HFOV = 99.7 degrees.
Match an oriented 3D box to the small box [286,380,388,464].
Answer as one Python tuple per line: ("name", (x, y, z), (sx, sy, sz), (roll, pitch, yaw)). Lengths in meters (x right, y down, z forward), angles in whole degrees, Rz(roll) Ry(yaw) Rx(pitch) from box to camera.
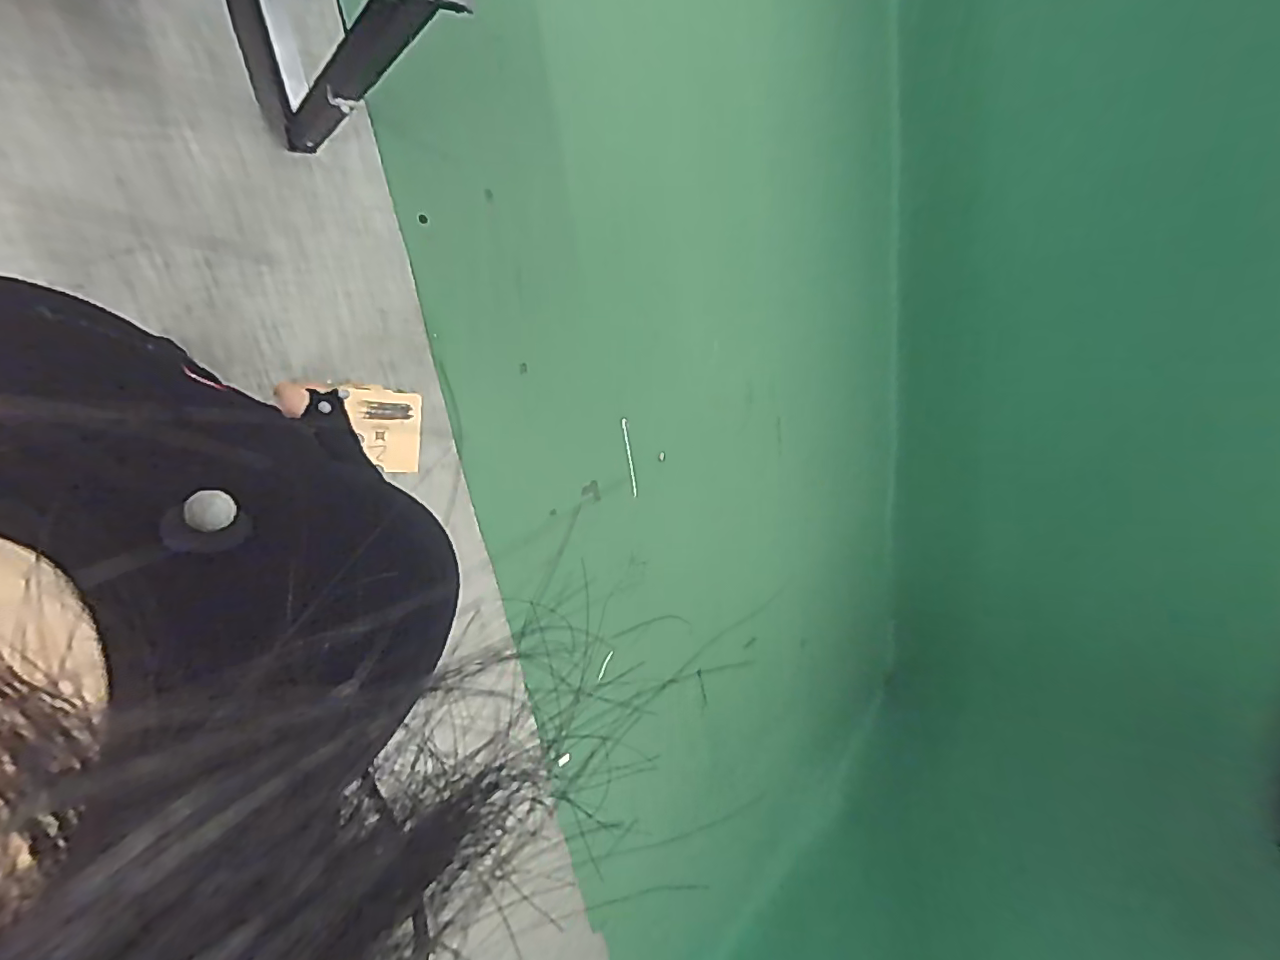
("small box", (-0.722, -0.144, 1.289), (0.168, 0.176, 0.179), (-14, 108, -42))
